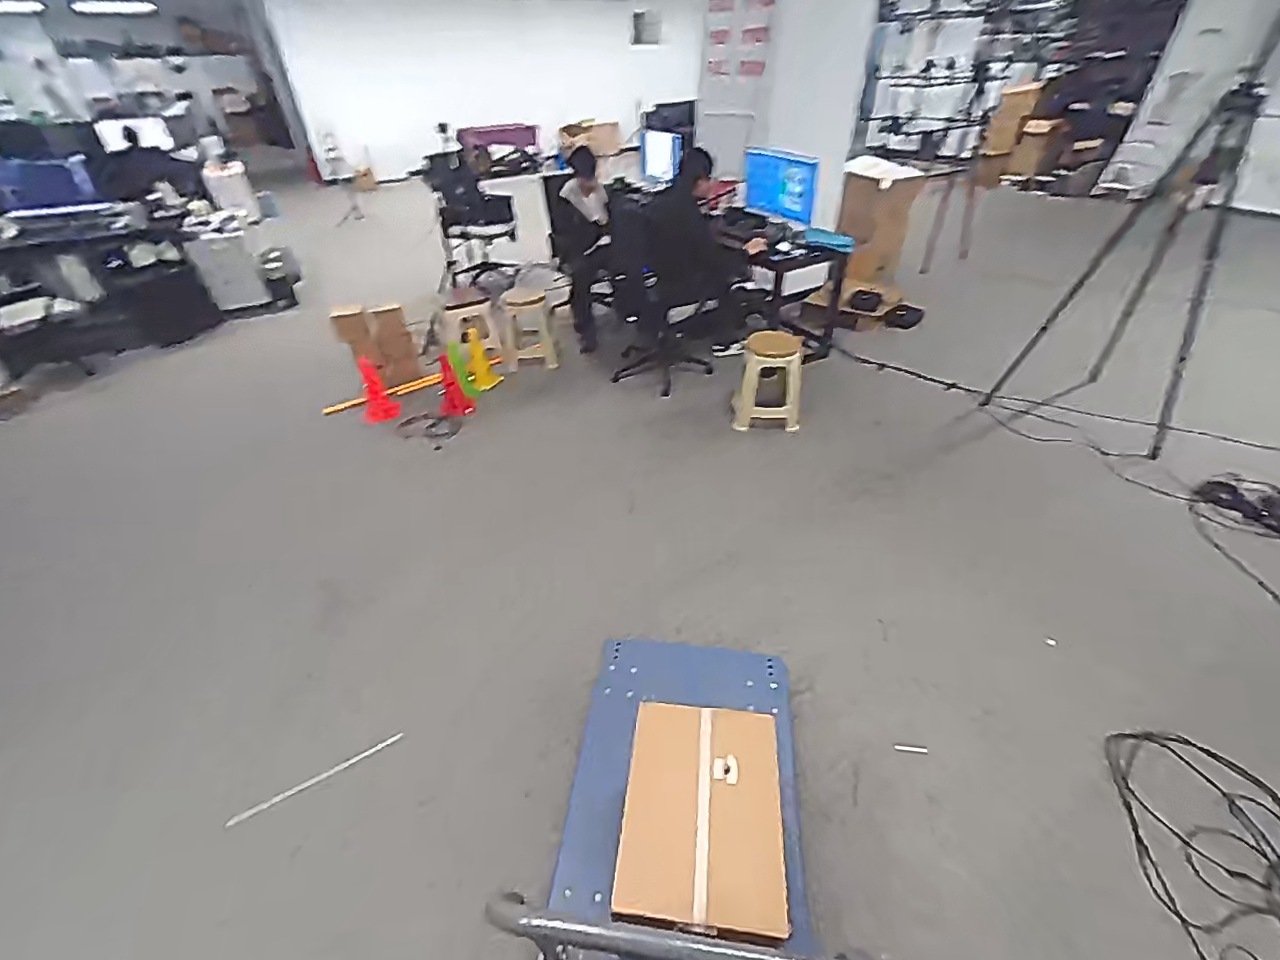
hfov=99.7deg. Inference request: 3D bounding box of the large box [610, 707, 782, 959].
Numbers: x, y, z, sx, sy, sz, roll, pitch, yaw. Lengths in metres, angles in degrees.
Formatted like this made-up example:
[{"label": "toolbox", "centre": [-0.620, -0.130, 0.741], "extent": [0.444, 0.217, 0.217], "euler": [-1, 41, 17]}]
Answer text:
[{"label": "large box", "centre": [0.122, 0.784, 1.198], "extent": [0.320, 0.320, 0.408], "euler": [4, 37, 6]}]
